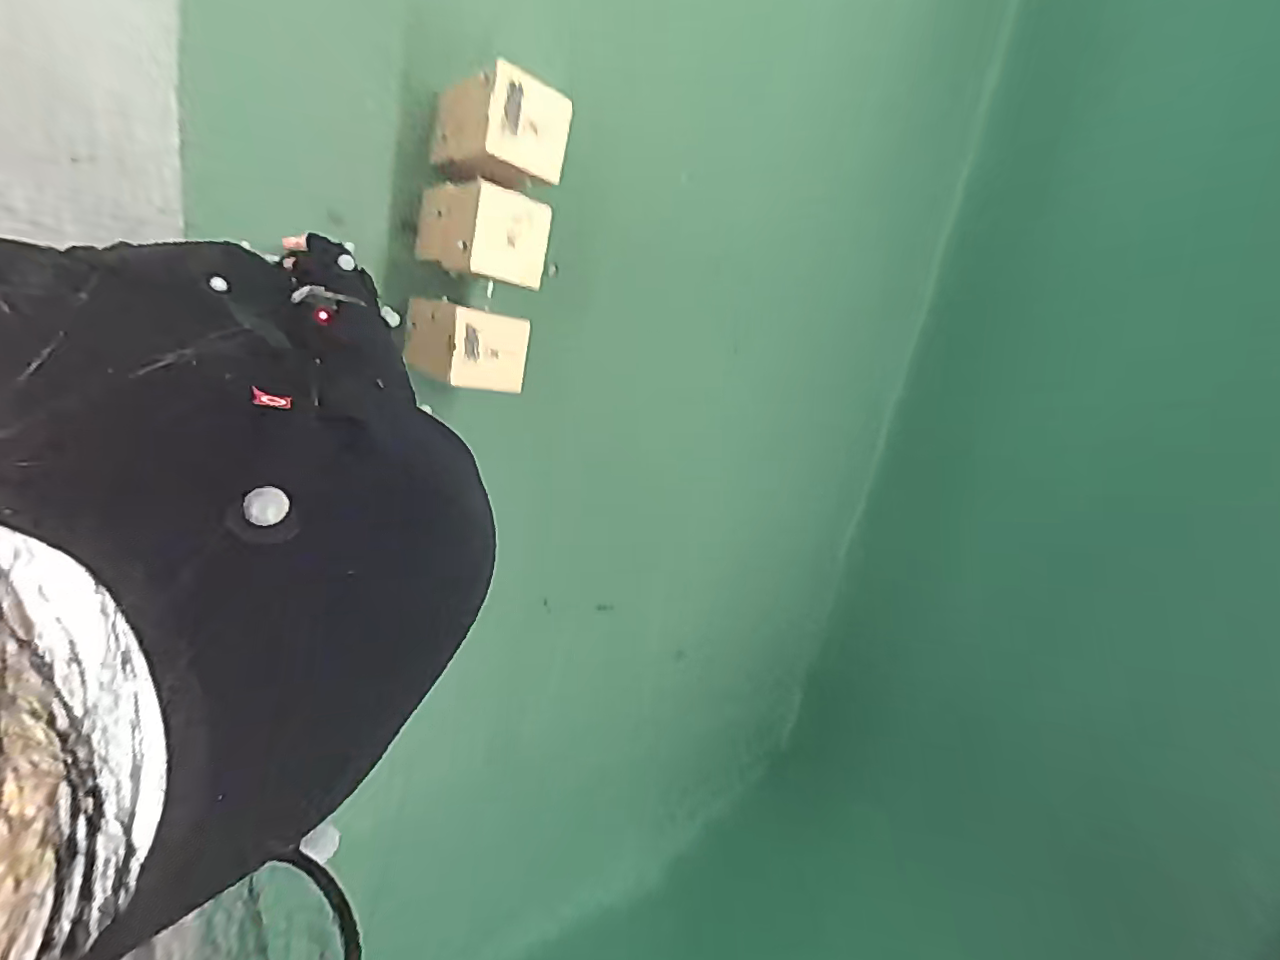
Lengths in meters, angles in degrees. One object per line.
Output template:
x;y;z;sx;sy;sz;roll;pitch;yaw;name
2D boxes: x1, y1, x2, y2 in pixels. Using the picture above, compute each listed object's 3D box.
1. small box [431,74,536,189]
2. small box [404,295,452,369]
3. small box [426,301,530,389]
-0.379;-0.814;1.288;0.179;0.176;0.168;6;104;-41;small box
-0.485;-0.371;1.388;0.179;0.176;0.168;1;108;-40;small box
-0.385;-0.319;1.268;0.179;0.176;0.168;0;109;-40;small box
